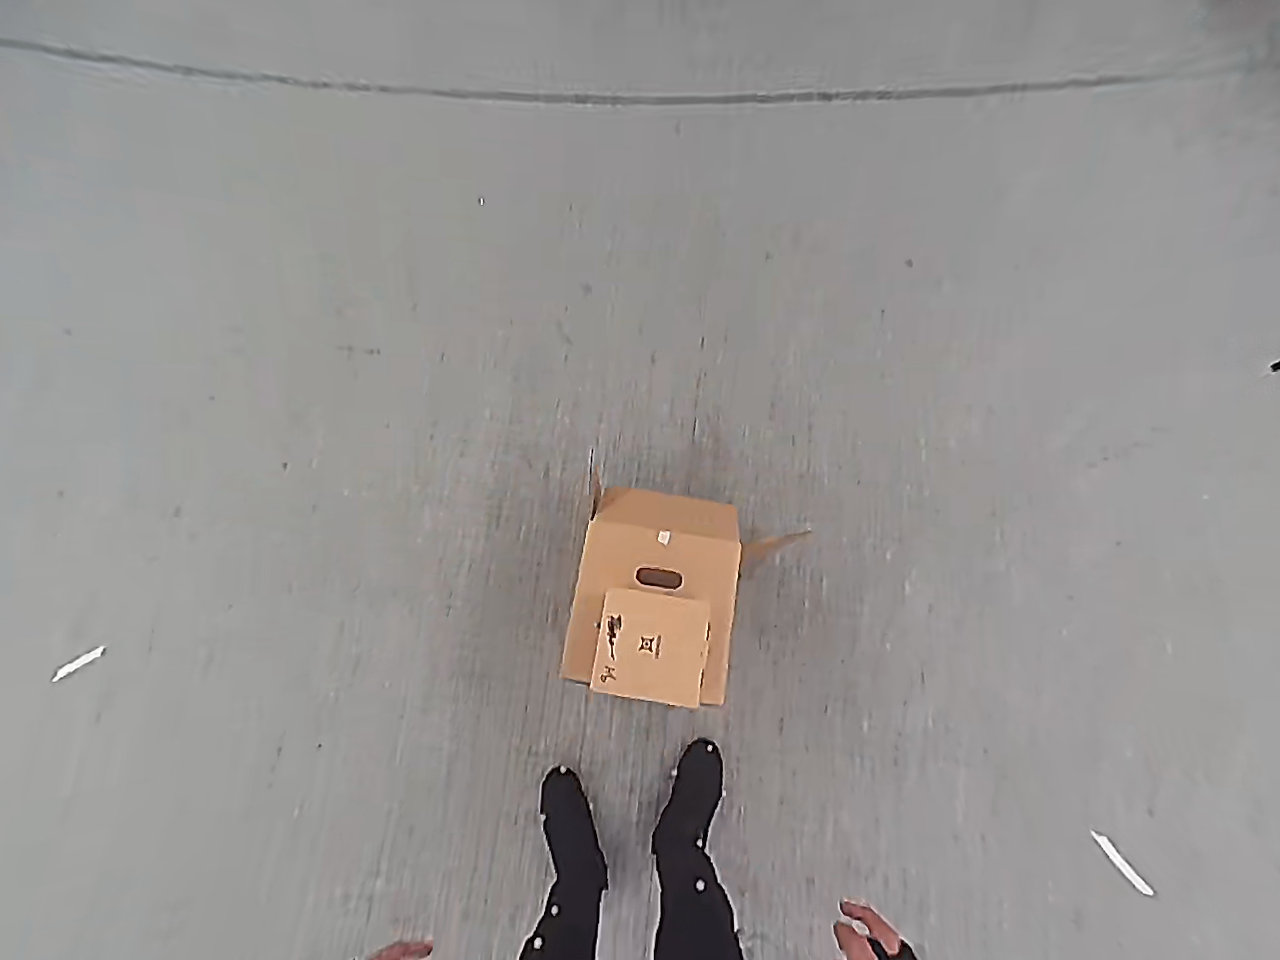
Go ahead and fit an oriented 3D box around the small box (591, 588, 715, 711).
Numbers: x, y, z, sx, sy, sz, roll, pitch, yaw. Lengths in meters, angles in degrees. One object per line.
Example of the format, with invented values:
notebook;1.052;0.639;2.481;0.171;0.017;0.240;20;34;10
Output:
small box;0.022;0.286;0.934;0.179;0.176;0.168;9;75;3
